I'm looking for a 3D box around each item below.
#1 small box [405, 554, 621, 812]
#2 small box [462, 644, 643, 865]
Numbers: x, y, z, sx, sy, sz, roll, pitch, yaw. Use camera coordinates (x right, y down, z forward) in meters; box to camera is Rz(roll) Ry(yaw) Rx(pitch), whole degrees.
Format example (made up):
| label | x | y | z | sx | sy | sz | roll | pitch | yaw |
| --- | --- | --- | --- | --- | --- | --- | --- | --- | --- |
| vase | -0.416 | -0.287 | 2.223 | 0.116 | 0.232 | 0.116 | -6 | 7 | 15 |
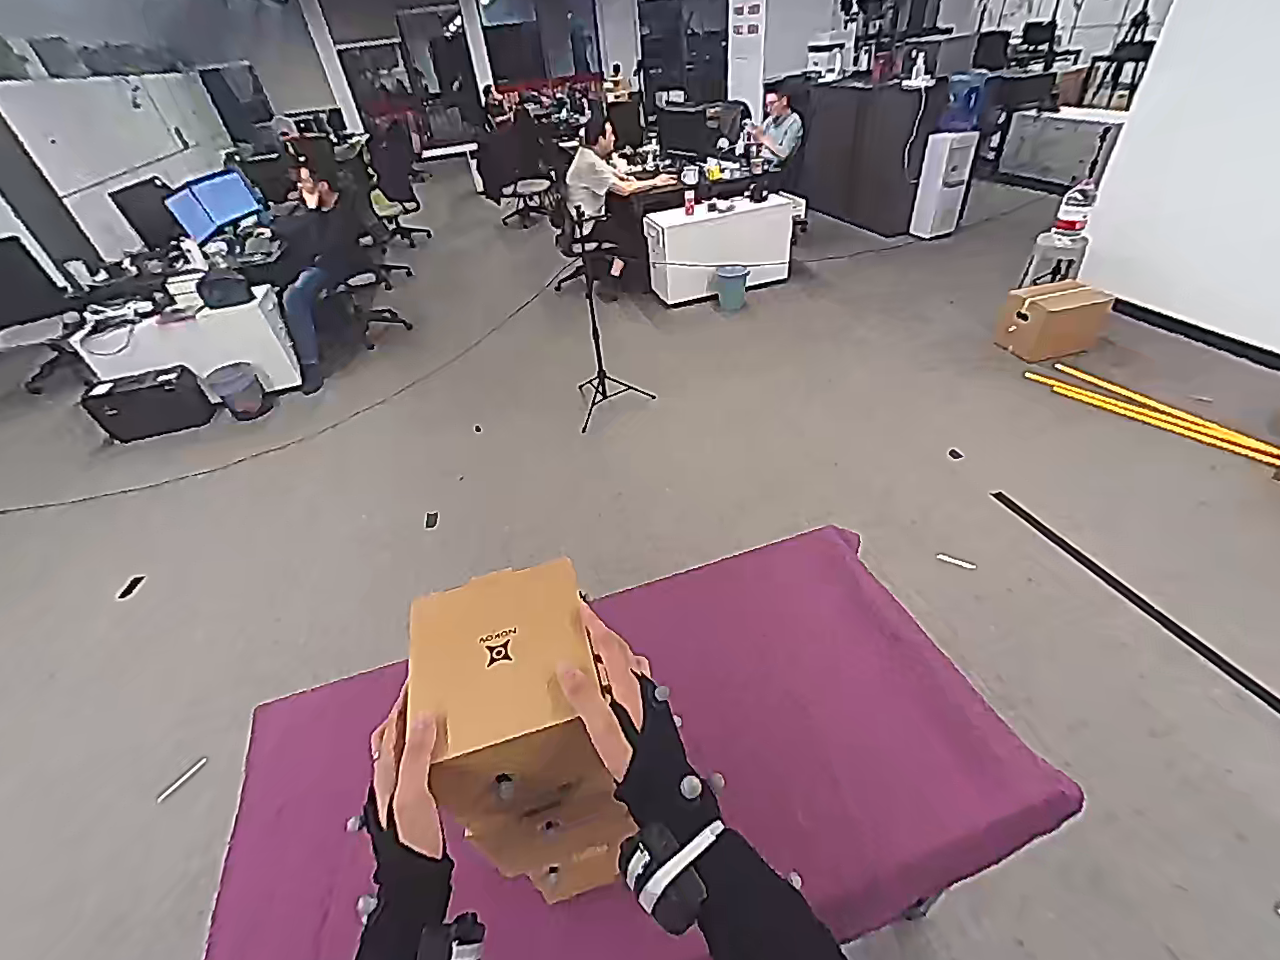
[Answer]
| label | x | y | z | sx | sy | sz | roll | pitch | yaw |
| --- | --- | --- | --- | --- | --- | --- | --- | --- | --- |
| small box | -0.122 | 0.211 | 0.553 | 0.168 | 0.176 | 0.179 | -14 | 42 | -8 |
| small box | -0.105 | 0.334 | 0.658 | 0.179 | 0.176 | 0.168 | -14 | 43 | -8 |
